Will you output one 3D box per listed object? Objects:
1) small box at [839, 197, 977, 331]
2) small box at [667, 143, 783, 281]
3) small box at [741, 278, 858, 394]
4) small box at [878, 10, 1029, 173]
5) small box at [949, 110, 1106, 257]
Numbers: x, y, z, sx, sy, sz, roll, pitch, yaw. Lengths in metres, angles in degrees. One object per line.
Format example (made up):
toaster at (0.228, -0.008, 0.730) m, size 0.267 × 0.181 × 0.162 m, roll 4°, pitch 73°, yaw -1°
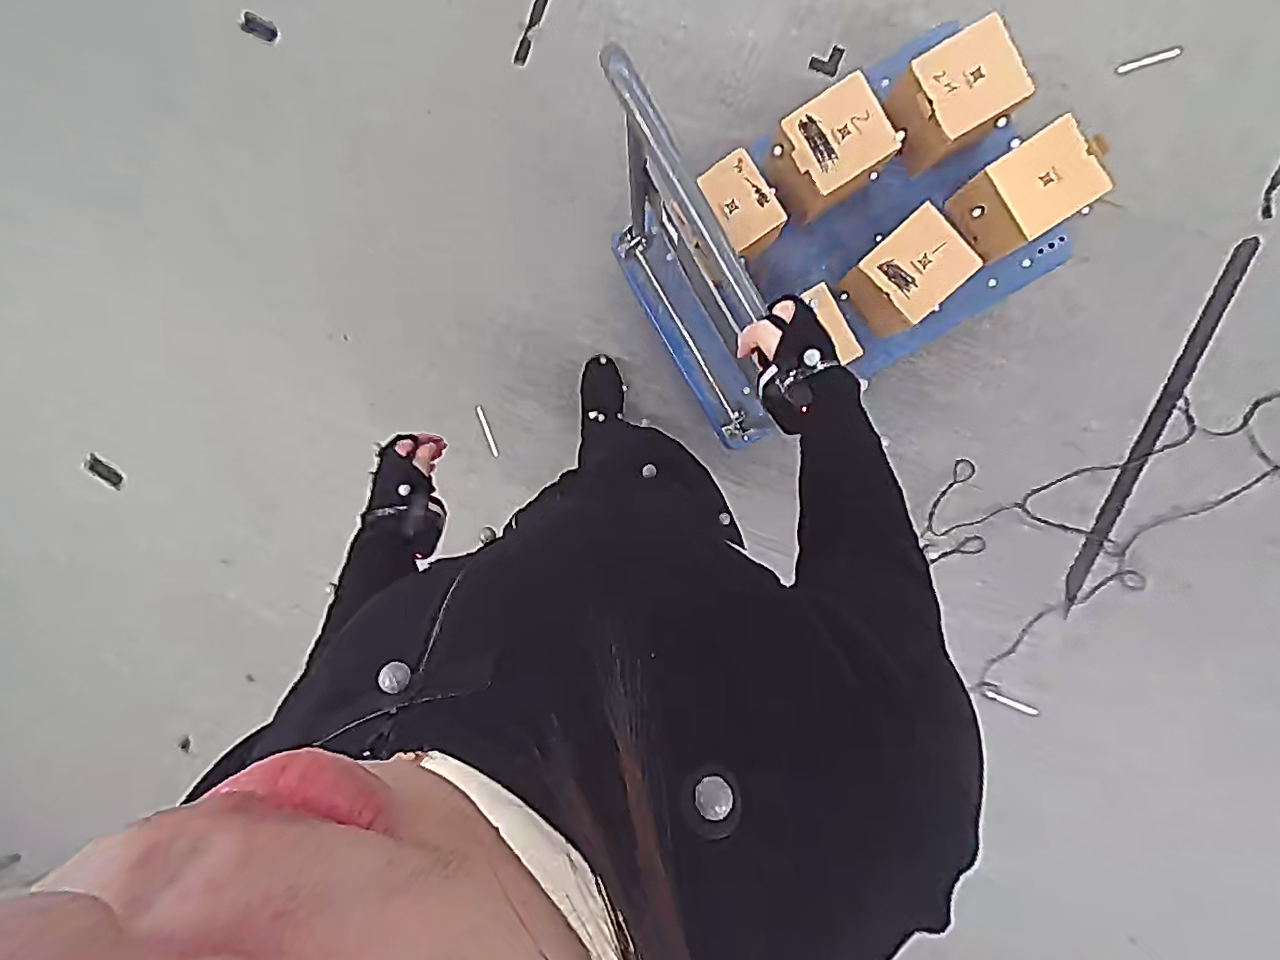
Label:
small box at (0.544, -0.437, 1.132) m, size 0.179 × 0.176 × 0.168 m, roll -42°, pitch 92°, yaw 6°
small box at (0.173, -0.550, 1.141) m, size 0.179 × 0.176 × 0.168 m, roll -34°, pitch 94°, yaw 7°
small box at (0.329, -0.297, 1.161) m, size 0.179 × 0.176 × 0.168 m, roll -30°, pitch 94°, yaw 5°
small box at (0.619, -0.769, 1.090) m, size 0.179 × 0.176 × 0.168 m, roll -28°, pitch 93°, yaw 7°
small box at (0.769, -0.588, 1.103) m, size 0.179 × 0.176 × 0.168 m, roll -33°, pitch 93°, yaw 6°
